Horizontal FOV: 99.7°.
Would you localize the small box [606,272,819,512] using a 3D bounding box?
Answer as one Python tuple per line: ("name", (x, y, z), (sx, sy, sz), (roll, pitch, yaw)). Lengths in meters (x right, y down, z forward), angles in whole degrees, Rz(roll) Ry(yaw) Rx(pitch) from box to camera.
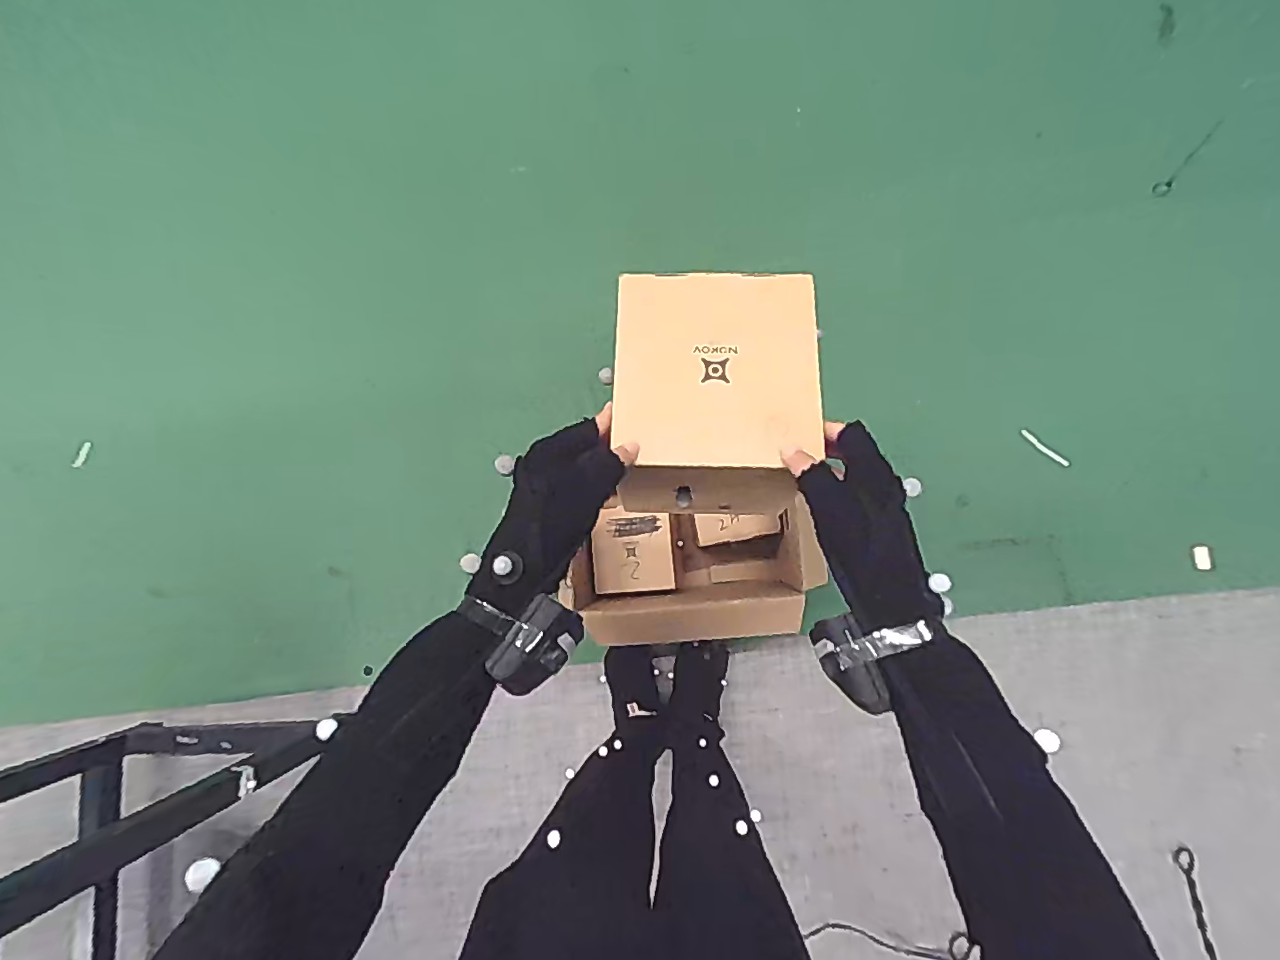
("small box", (0.062, -0.070, 0.511), (0.168, 0.176, 0.179), (1, 73, 3))
